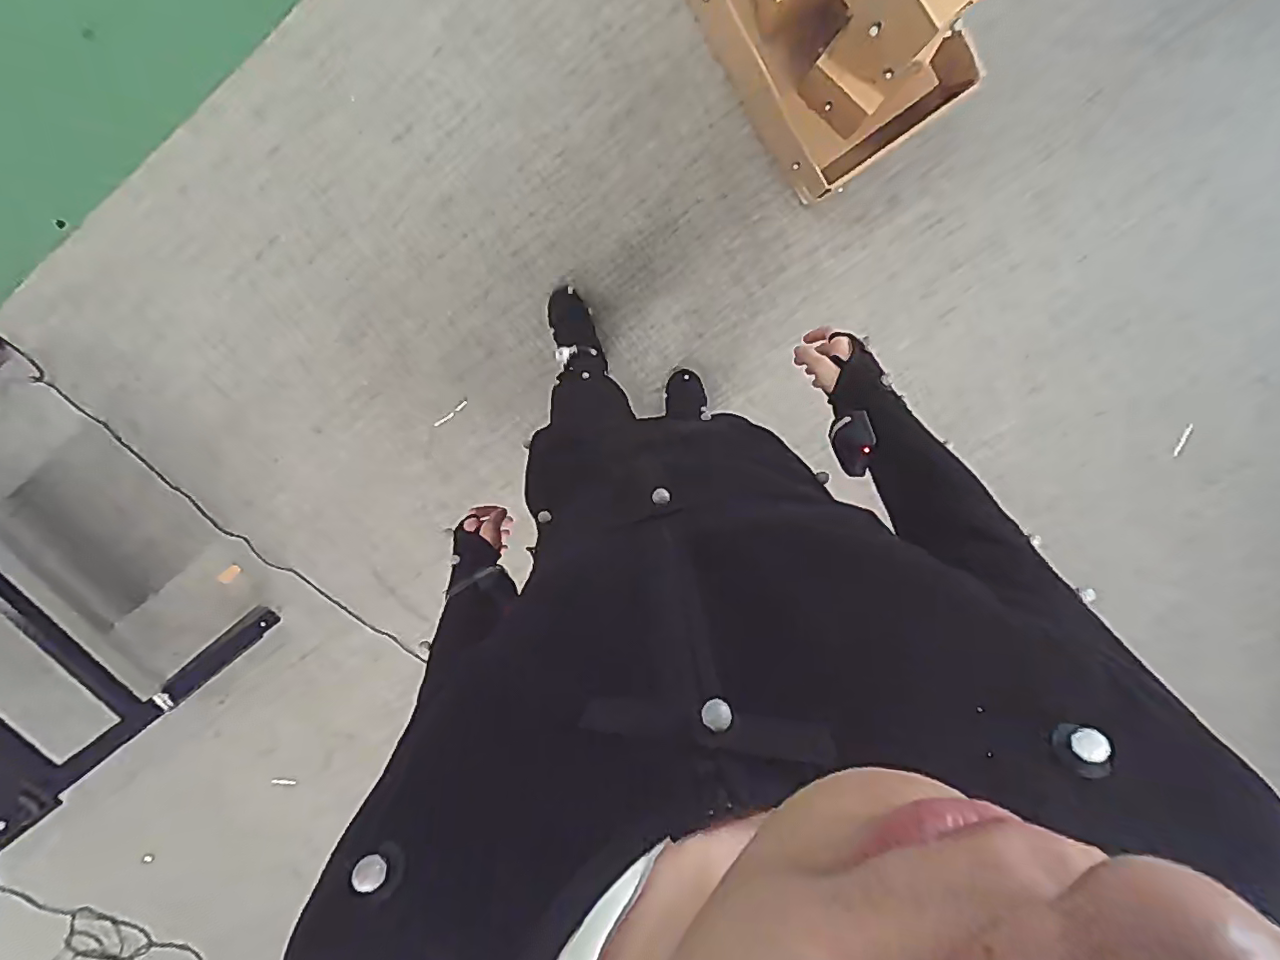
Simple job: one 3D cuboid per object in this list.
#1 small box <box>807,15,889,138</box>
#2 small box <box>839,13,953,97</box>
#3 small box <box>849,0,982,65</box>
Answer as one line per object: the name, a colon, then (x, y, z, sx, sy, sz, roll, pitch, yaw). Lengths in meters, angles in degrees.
small box: (0.502, -0.925, 1.225, 0.168, 0.176, 0.179, 39, 103, -8)
small box: (0.517, -0.906, 1.061, 0.168, 0.176, 0.179, 29, 104, -6)
small box: (0.488, -0.849, 0.908, 0.168, 0.176, 0.179, -40, 101, 12)
